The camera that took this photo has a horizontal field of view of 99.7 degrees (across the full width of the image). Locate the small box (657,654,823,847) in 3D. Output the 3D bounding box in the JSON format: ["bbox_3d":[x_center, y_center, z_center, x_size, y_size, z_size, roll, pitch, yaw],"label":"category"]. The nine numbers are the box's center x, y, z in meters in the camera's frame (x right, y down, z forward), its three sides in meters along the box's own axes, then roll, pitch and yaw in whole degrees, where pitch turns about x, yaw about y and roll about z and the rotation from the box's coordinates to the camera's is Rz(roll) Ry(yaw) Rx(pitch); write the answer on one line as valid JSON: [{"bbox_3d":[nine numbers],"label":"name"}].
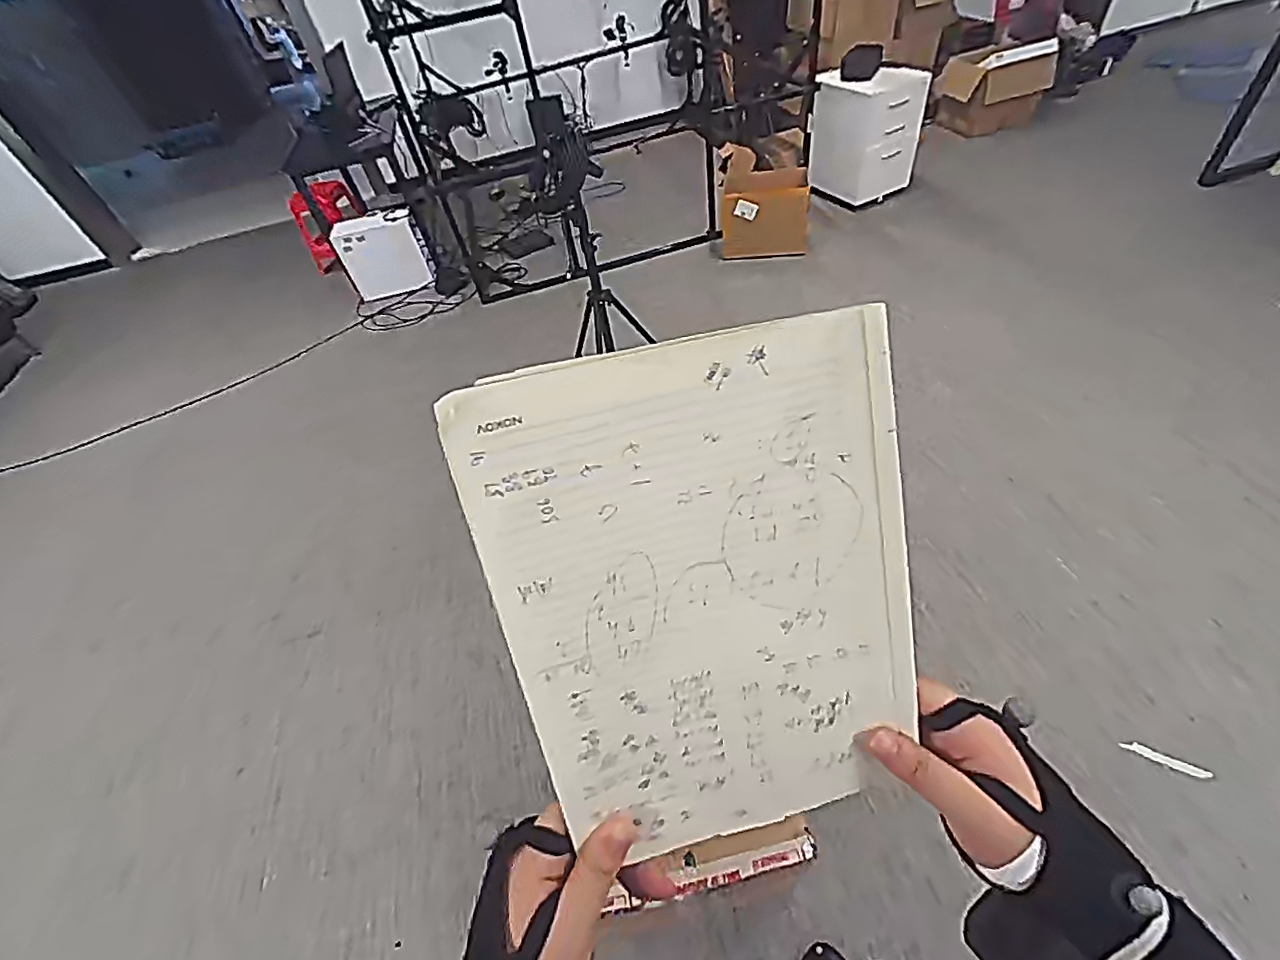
[{"bbox_3d":[0.119,0.359,0.715,0.168,0.176,0.179,-10,49,-2],"label":"small box"}]

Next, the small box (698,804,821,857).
[{"bbox_3d":[0.154,0.461,0.841,0.179,0.176,0.168,-14,48,-4],"label":"small box"}]
